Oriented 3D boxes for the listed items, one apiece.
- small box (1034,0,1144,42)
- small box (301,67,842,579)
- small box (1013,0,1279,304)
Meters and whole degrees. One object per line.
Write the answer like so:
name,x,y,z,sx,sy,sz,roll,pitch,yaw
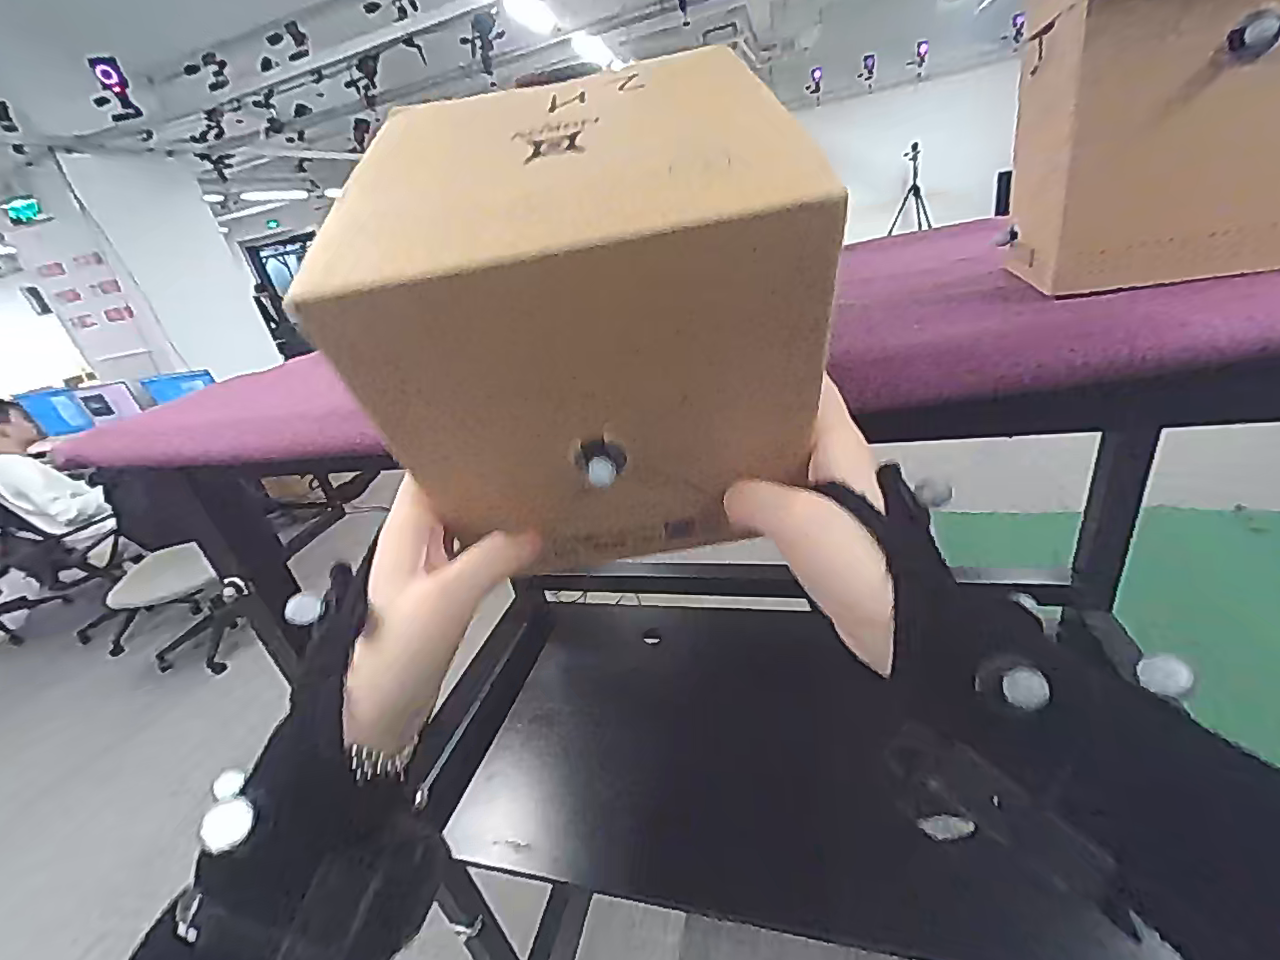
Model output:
small box,0.334,-0.361,0.285,0.179,0.176,0.168,-2,26,20
small box,-0.017,-0.065,0.268,0.168,0.176,0.179,-9,50,2
small box,0.370,-0.223,0.364,0.179,0.176,0.168,1,27,24
